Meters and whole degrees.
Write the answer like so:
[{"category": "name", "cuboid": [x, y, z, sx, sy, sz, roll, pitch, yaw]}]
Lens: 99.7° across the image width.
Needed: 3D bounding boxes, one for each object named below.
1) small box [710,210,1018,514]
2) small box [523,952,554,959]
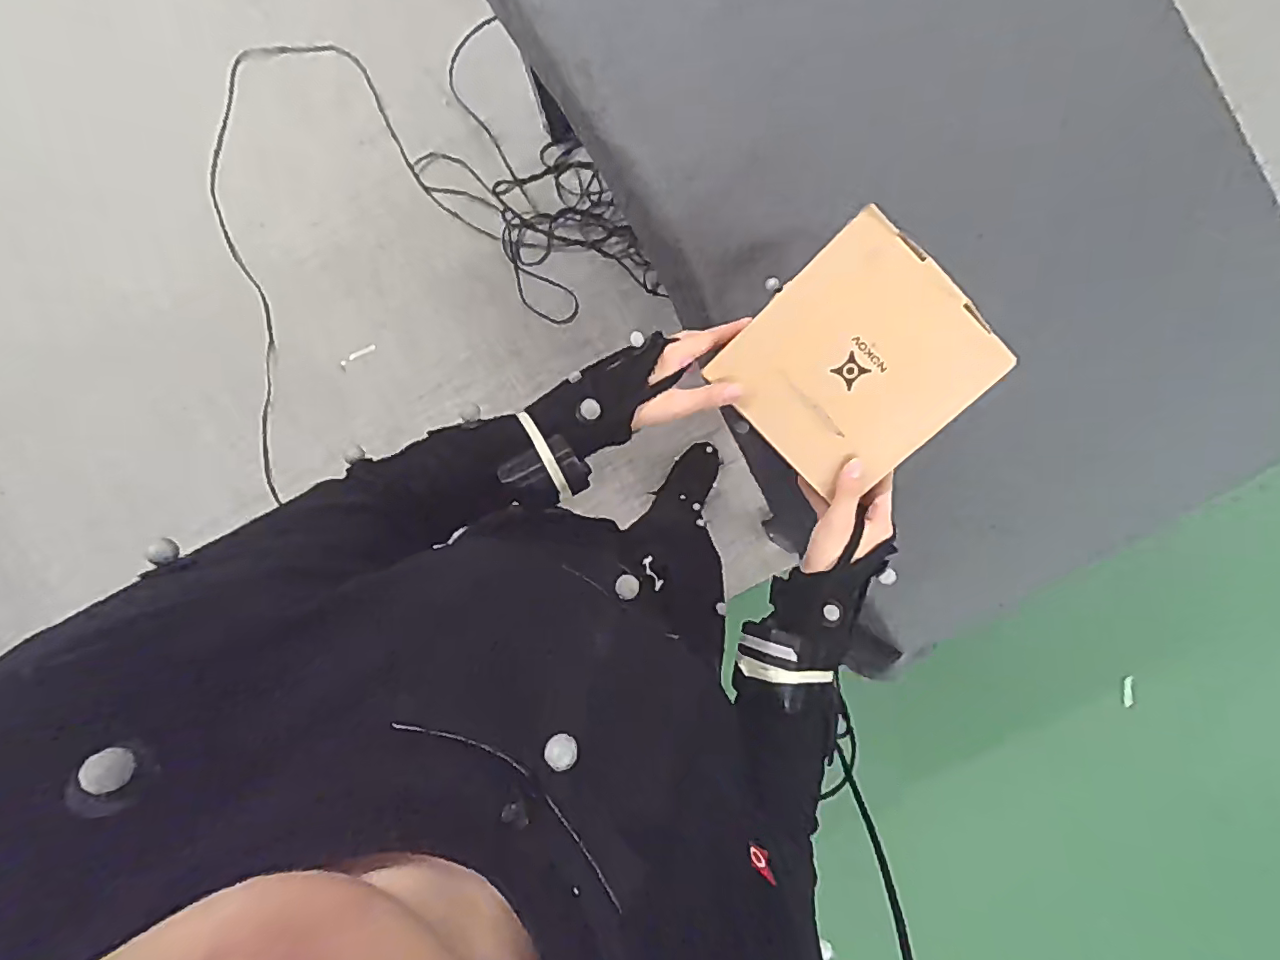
[{"category": "small box", "cuboid": [0.179, -0.102, 0.497, 0.168, 0.176, 0.179, 45, 105, -3]}, {"category": "small box", "cuboid": [-0.246, 1.192, 1.179, 0.168, 0.176, 0.179, -32, 92, 2]}]
